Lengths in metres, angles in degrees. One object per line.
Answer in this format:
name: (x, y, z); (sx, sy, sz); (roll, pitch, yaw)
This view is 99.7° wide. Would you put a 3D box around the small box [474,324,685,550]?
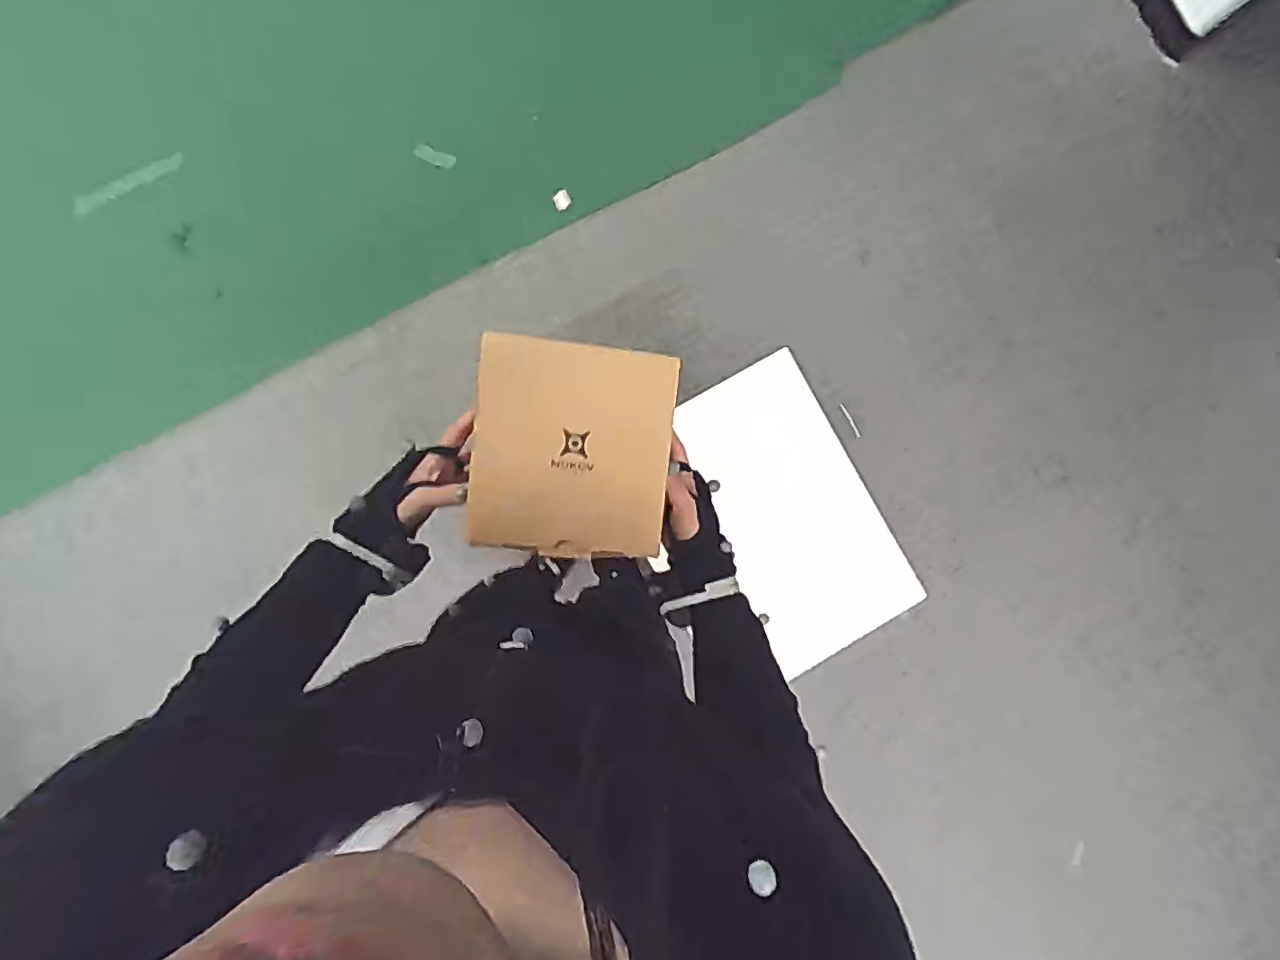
small box: (-0.062, -0.038, 0.522); (0.168, 0.176, 0.179); (4, 94, -10)
